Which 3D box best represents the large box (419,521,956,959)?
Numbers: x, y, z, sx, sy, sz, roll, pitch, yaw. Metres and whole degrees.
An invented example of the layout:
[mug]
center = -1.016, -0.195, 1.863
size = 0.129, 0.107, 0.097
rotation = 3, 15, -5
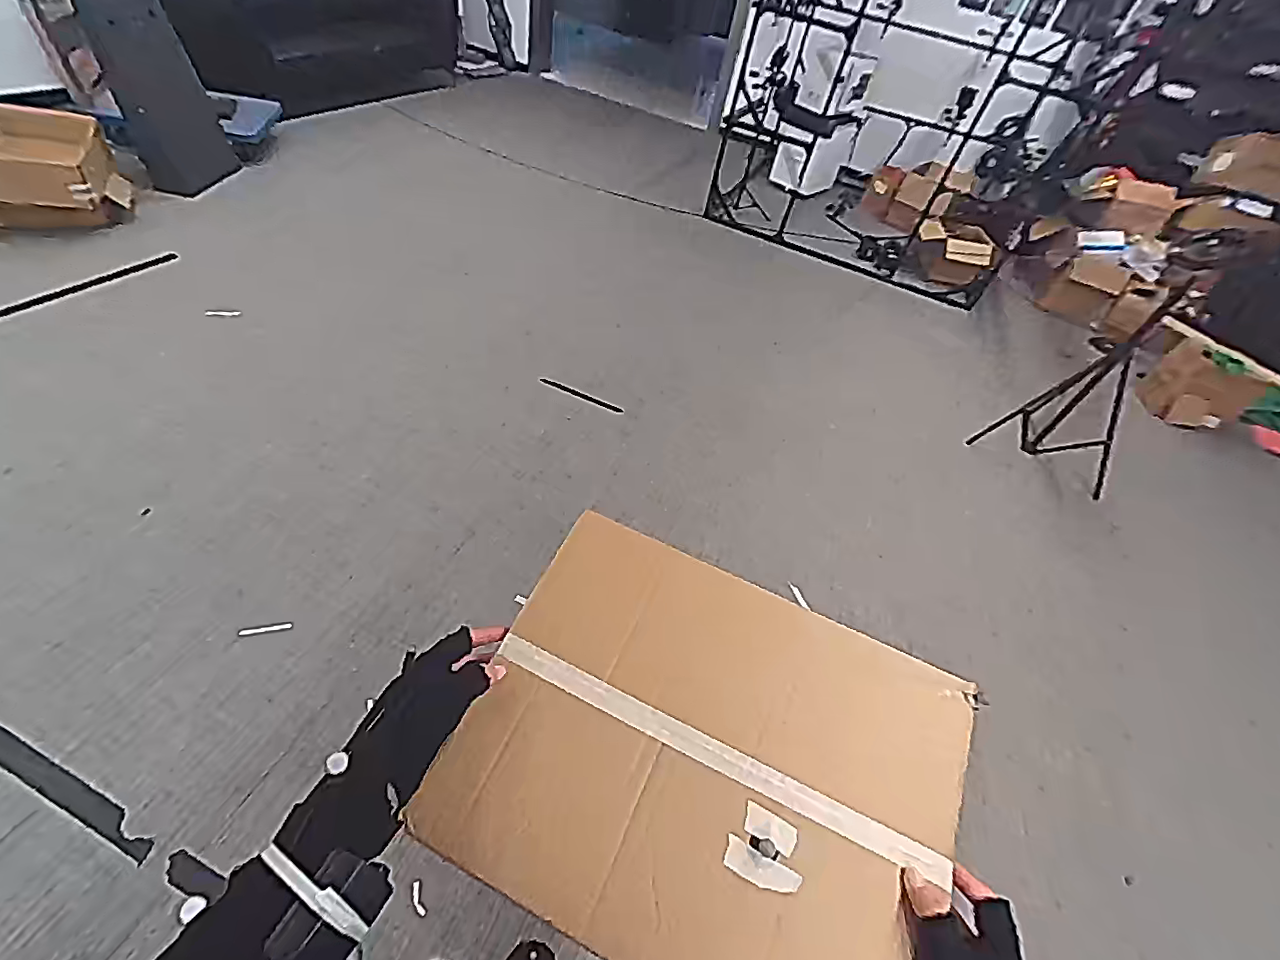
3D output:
[large box]
center = 0.050, 0.309, 0.605
size = 0.408, 0.320, 0.320
rotation = 24, 62, 11
